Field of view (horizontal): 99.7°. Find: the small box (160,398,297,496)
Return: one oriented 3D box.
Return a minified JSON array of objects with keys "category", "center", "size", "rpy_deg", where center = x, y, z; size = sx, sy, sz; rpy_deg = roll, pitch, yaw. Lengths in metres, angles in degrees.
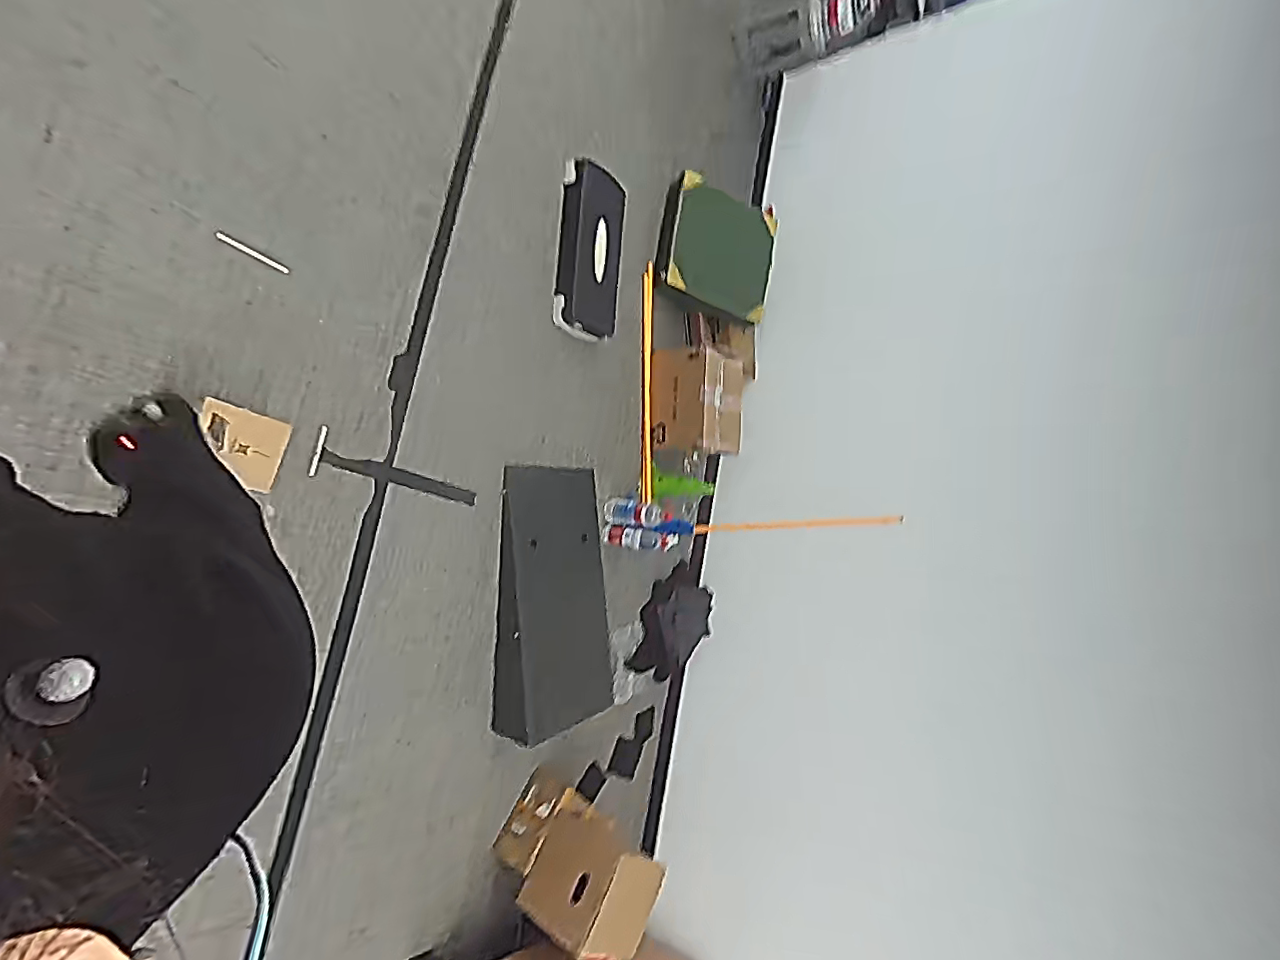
[{"category":"small box","center":[-0.917,-0.069,1.202],"size":[0.179,0.176,0.168],"rpy_deg":[28,71,-53]}]
